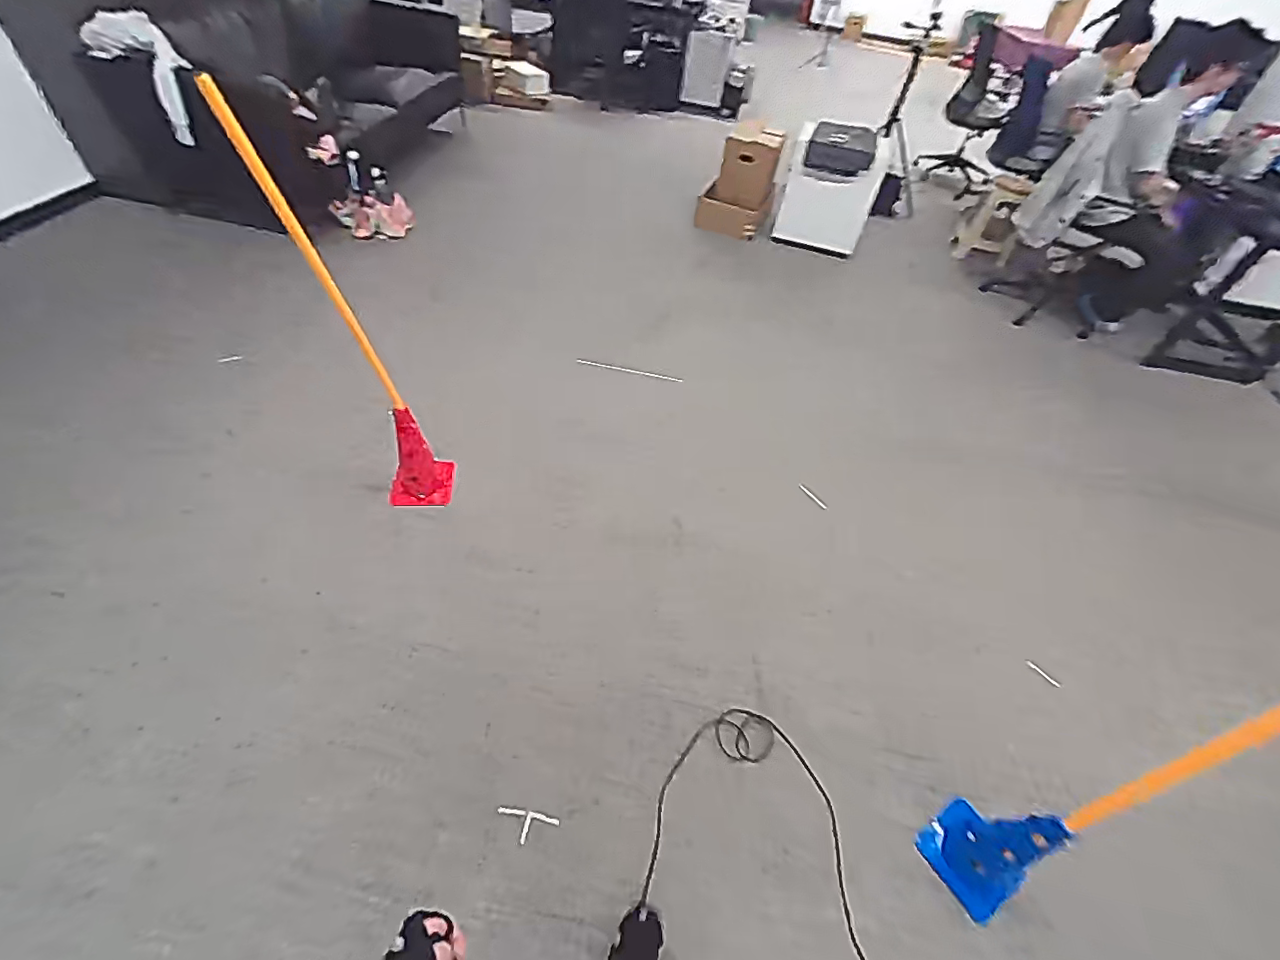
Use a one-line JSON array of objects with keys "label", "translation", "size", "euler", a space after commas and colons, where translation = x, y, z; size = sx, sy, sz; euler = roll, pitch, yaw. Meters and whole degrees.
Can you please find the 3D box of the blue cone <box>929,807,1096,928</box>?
[{"label": "blue cone", "translation": [0.825, 0.800, 1.172], "size": [0.193, 0.380, 0.192], "euler": [-22, 54, -27]}]
